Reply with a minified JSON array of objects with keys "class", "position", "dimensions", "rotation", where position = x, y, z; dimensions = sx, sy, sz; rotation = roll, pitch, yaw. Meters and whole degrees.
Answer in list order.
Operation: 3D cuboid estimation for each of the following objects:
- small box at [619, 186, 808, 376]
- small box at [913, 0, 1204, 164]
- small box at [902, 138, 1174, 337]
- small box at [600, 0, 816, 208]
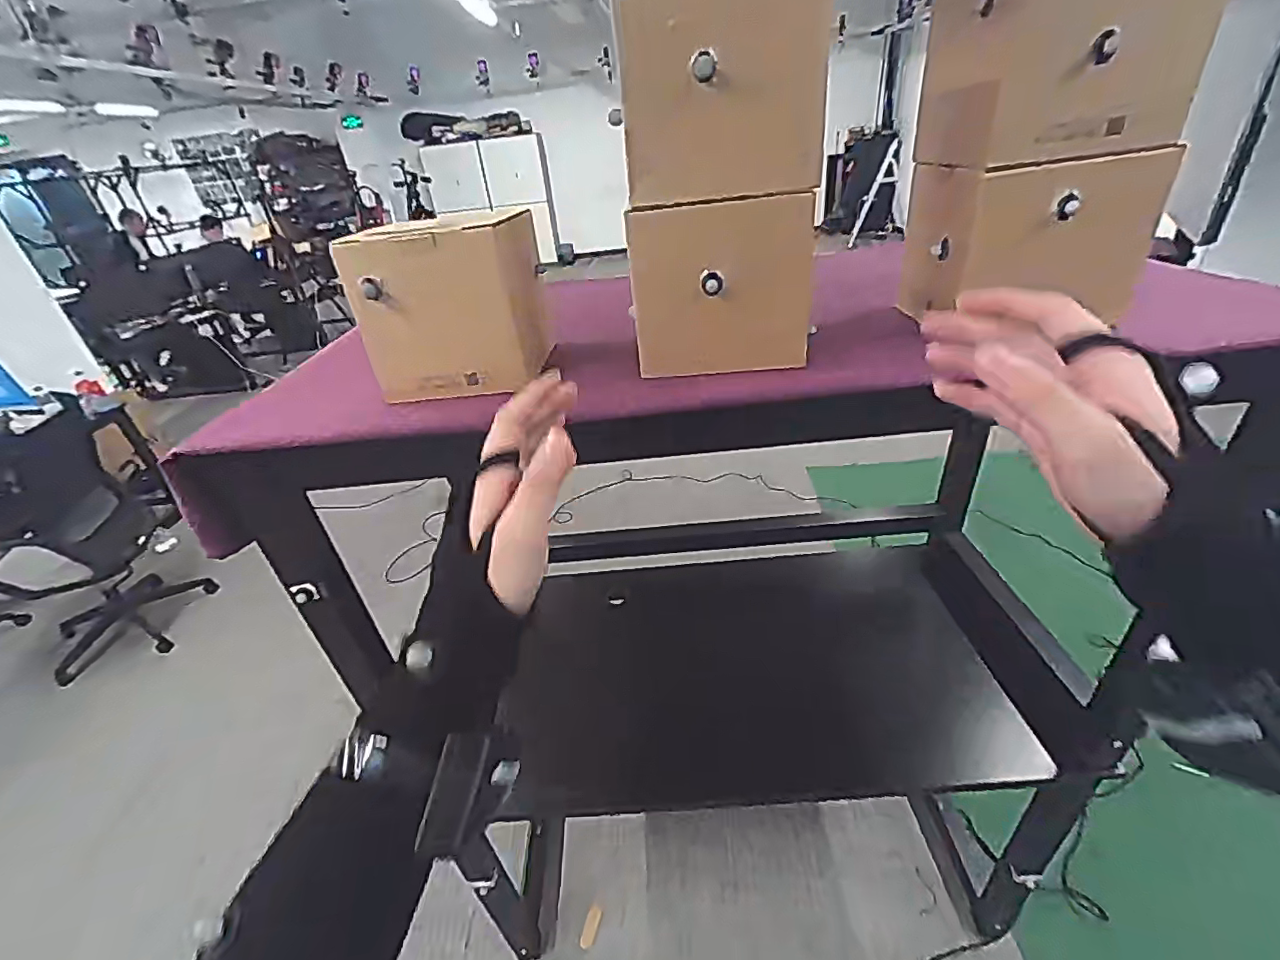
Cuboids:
[{"class":"small box","position":[0.082,-0.228,0.604],"dimensions":[0.179,0.176,0.168],"rotation":[-4,32,8]},{"class":"small box","position":[0.383,-0.407,0.515],"dimensions":[0.168,0.176,0.179],"rotation":[-4,32,6]},{"class":"small box","position":[0.405,-0.265,0.595],"dimensions":[0.179,0.176,0.168],"rotation":[-4,32,7]},{"class":"small box","position":[0.068,-0.370,0.523],"dimensions":[0.179,0.176,0.168],"rotation":[-5,32,6]}]
